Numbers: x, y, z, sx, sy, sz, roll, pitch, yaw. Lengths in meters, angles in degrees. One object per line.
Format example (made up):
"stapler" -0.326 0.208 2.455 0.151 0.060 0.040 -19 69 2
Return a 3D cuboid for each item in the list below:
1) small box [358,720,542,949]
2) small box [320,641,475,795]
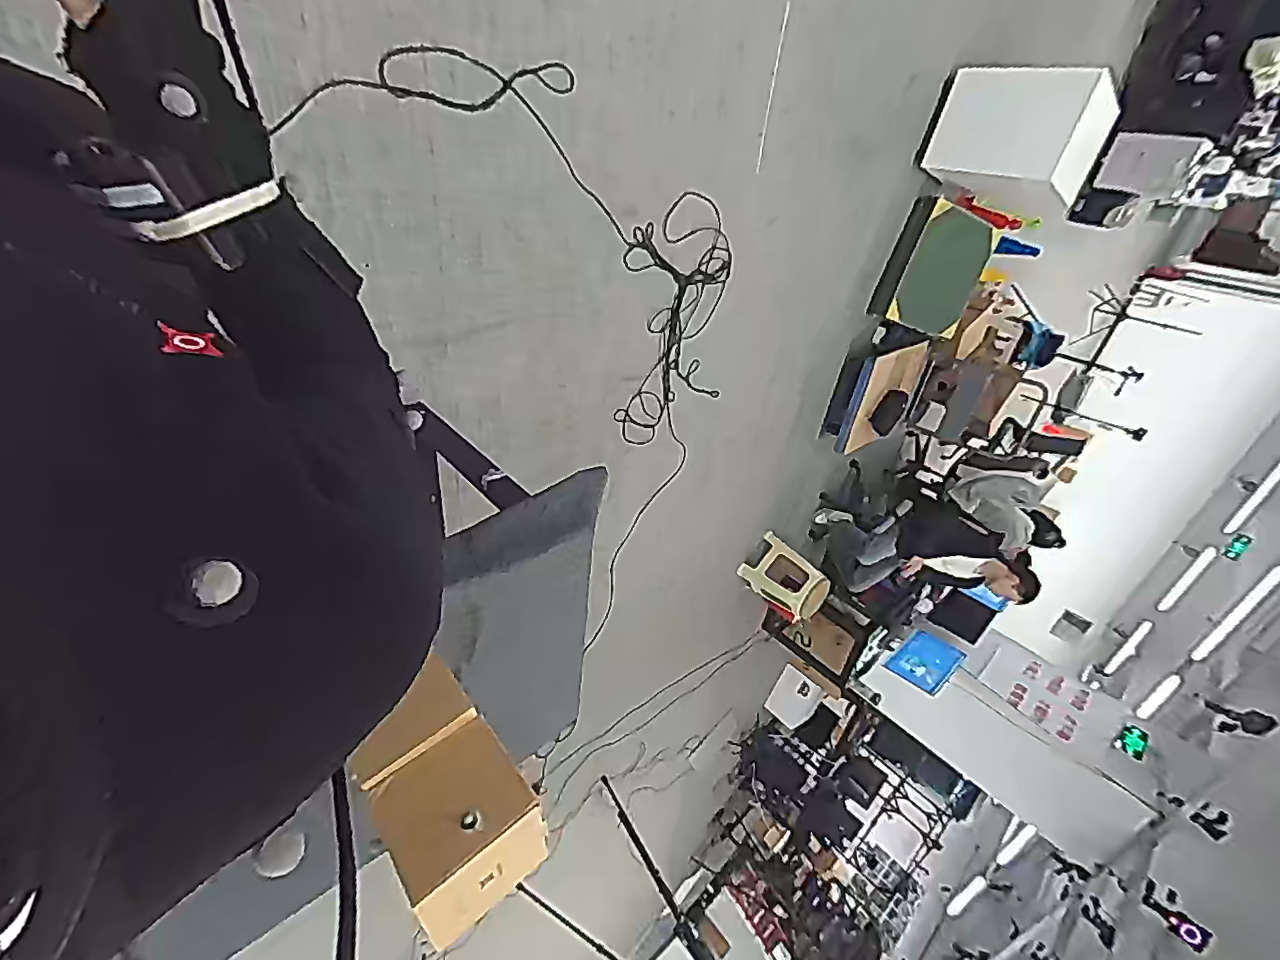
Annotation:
"small box" -0.258 0.479 0.753 0.179 0.176 0.168 -26 134 -33
"small box" -0.362 0.390 0.842 0.168 0.176 0.179 -30 137 -31
